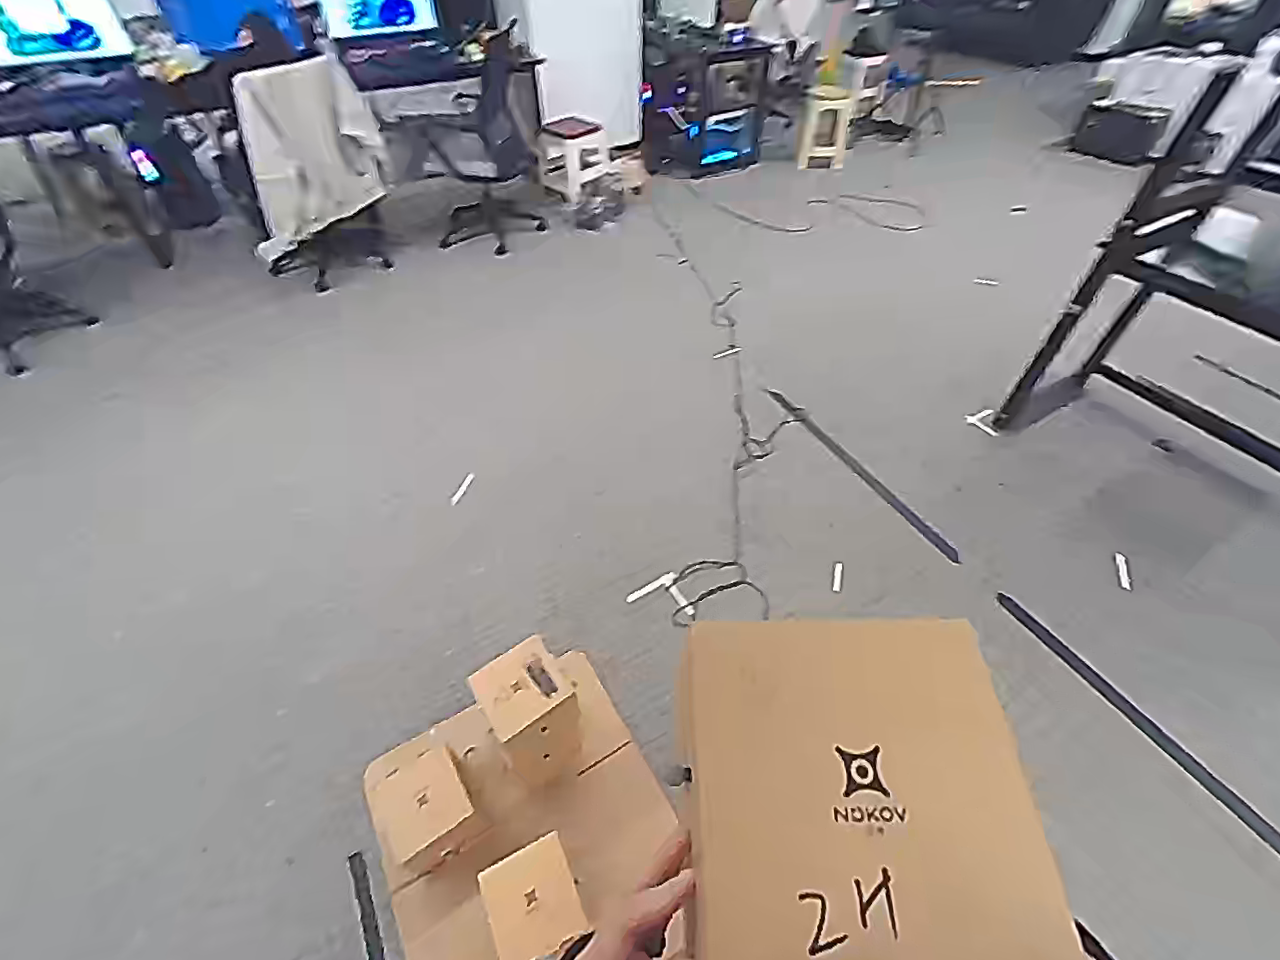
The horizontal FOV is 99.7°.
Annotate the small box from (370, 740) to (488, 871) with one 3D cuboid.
[{"bbox_3d":[-0.461,0.723,1.196,0.168,0.176,0.179,-30,55,-22],"label":"small box"}]

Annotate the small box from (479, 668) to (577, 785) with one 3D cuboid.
[{"bbox_3d":[-0.264,0.597,1.309,0.179,0.176,0.168,-28,54,-23],"label":"small box"}]

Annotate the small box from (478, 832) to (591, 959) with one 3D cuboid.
[{"bbox_3d":[-0.207,0.849,1.080,0.168,0.176,0.179,-21,52,-18],"label":"small box"}]
